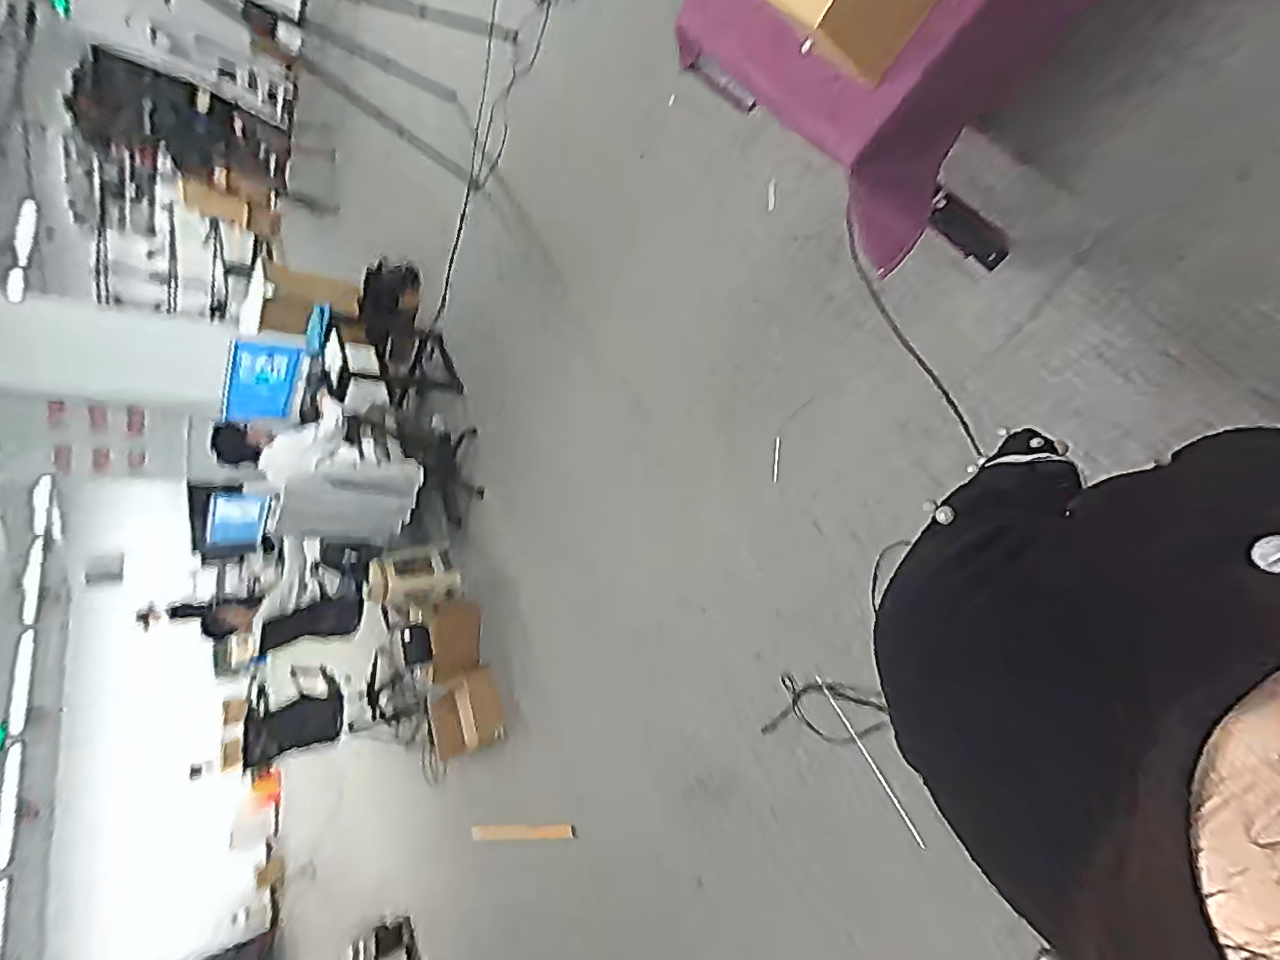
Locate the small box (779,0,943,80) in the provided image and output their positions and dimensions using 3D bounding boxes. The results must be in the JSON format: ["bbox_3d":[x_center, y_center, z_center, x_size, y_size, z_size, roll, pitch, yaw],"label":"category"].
[{"bbox_3d":[0.315,-0.713,0.754,0.179,0.176,0.168,-49,56,35],"label":"small box"}]
